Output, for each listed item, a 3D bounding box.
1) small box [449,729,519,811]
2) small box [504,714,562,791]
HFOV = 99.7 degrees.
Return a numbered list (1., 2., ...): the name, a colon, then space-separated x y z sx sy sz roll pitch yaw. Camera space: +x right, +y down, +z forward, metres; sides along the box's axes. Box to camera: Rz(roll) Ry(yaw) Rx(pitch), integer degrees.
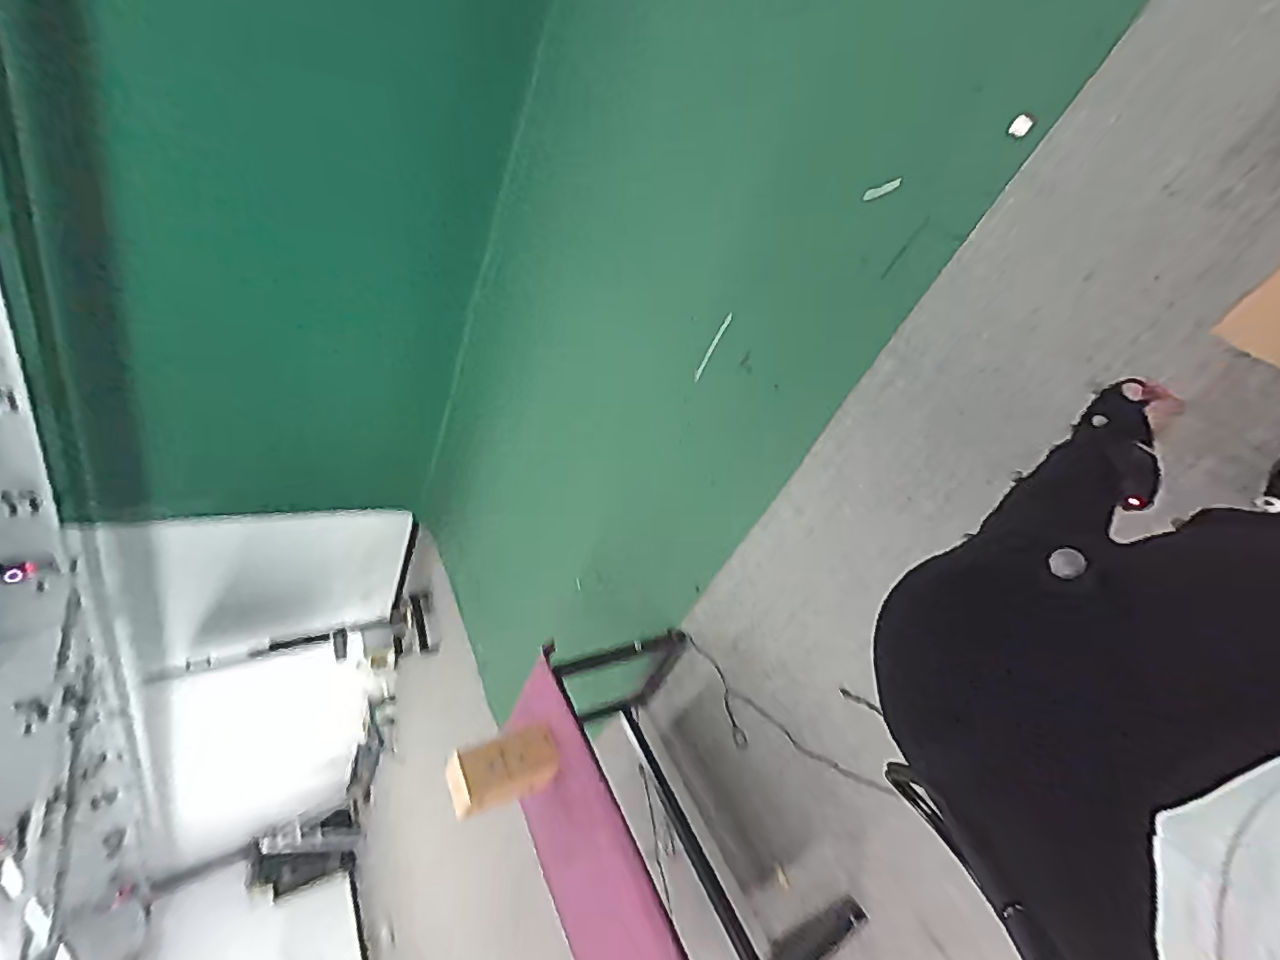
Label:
1. small box: -0.533 0.990 1.856 0.168 0.176 0.179 55 132 35
2. small box: -0.403 0.983 1.957 0.168 0.176 0.179 52 131 35
